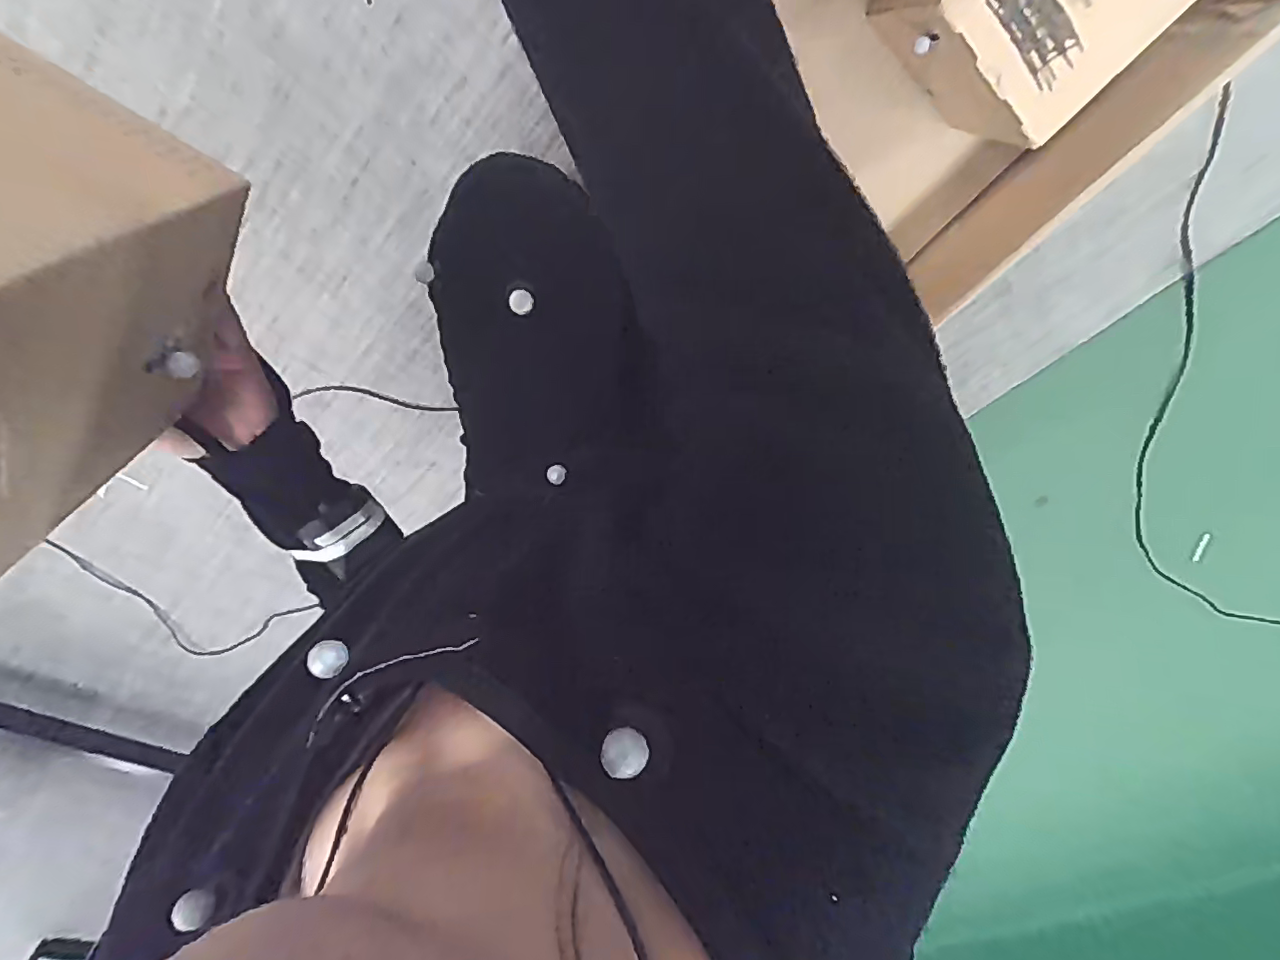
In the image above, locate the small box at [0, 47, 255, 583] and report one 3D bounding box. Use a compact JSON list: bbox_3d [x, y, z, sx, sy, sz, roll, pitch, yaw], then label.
[{"bbox_3d":[-0.316,-0.083,0.231,0.179,0.176,0.168,29,125,-24],"label":"small box"}]
